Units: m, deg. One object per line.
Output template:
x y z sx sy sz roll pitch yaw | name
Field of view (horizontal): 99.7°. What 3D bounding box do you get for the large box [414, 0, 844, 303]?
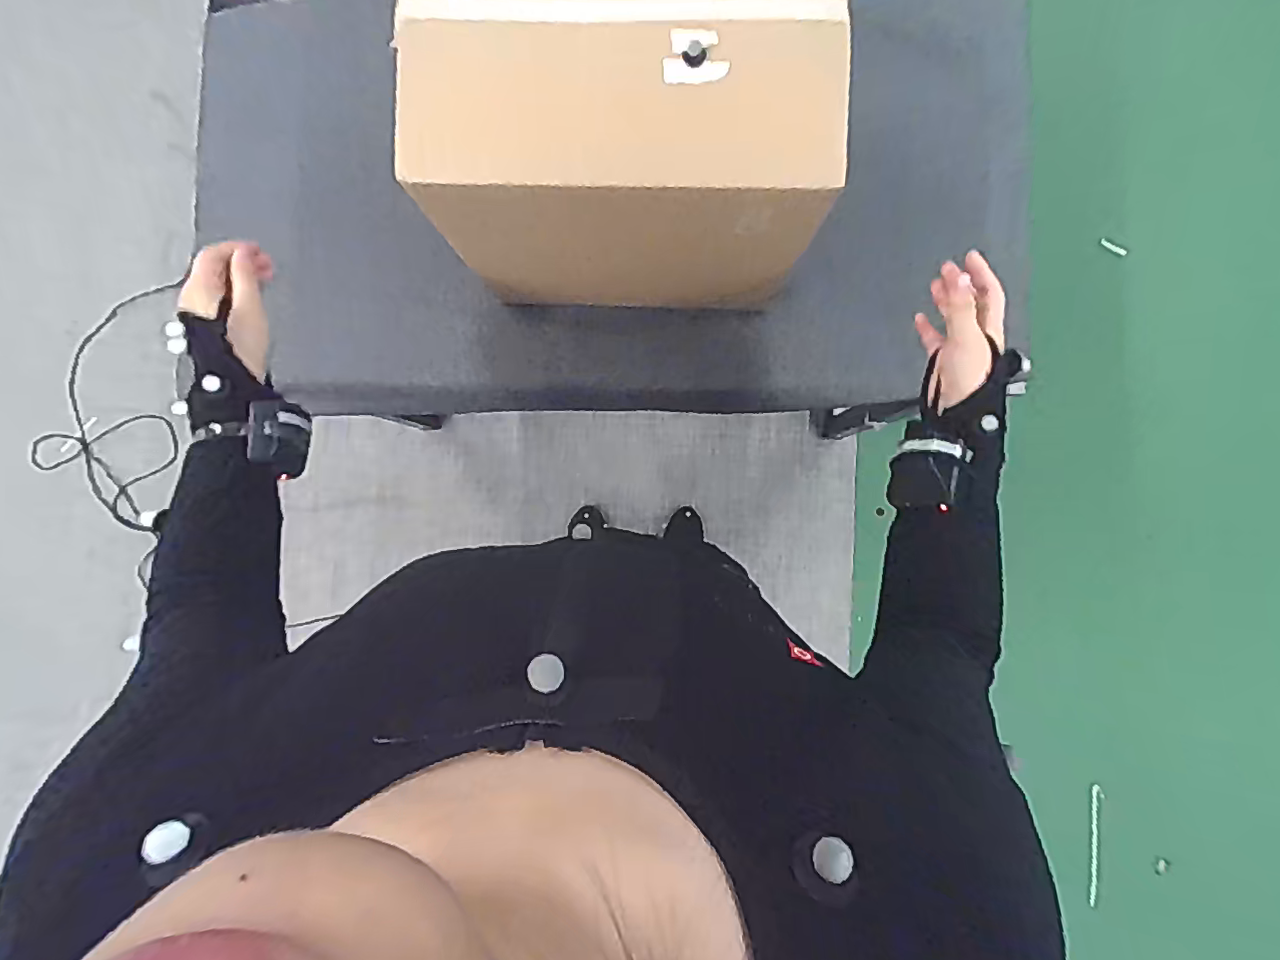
-0.009 -0.417 0.650 0.408 0.320 0.320 1 89 1 | large box
